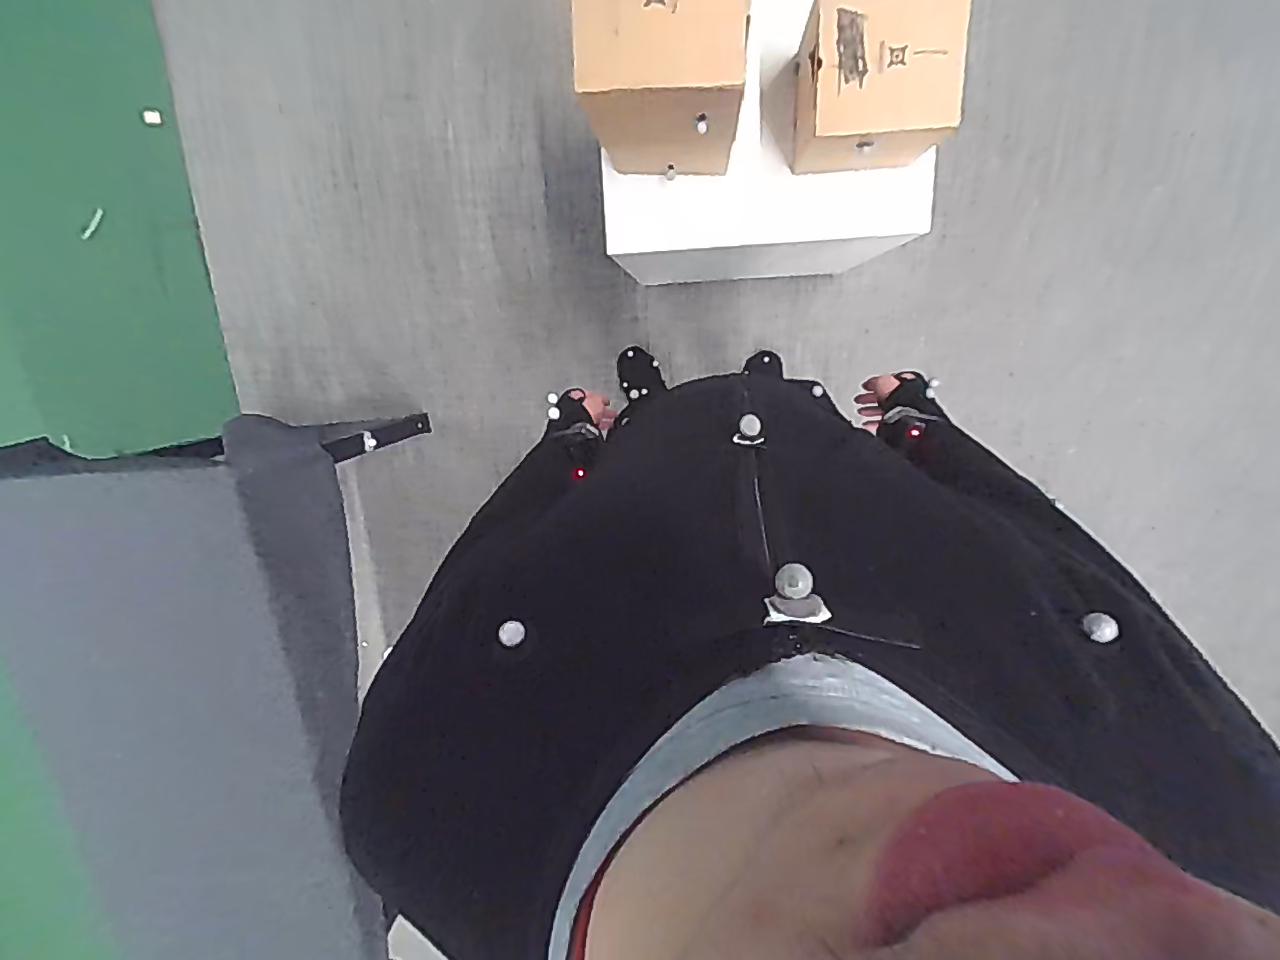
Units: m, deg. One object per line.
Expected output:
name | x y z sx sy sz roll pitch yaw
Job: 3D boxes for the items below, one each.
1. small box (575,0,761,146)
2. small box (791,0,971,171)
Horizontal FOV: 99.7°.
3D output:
small box | 0.029 -0.480 0.579 0.179 0.176 0.168 0 103 5
small box | 0.303 -0.528 0.718 0.179 0.176 0.168 -2 104 4
